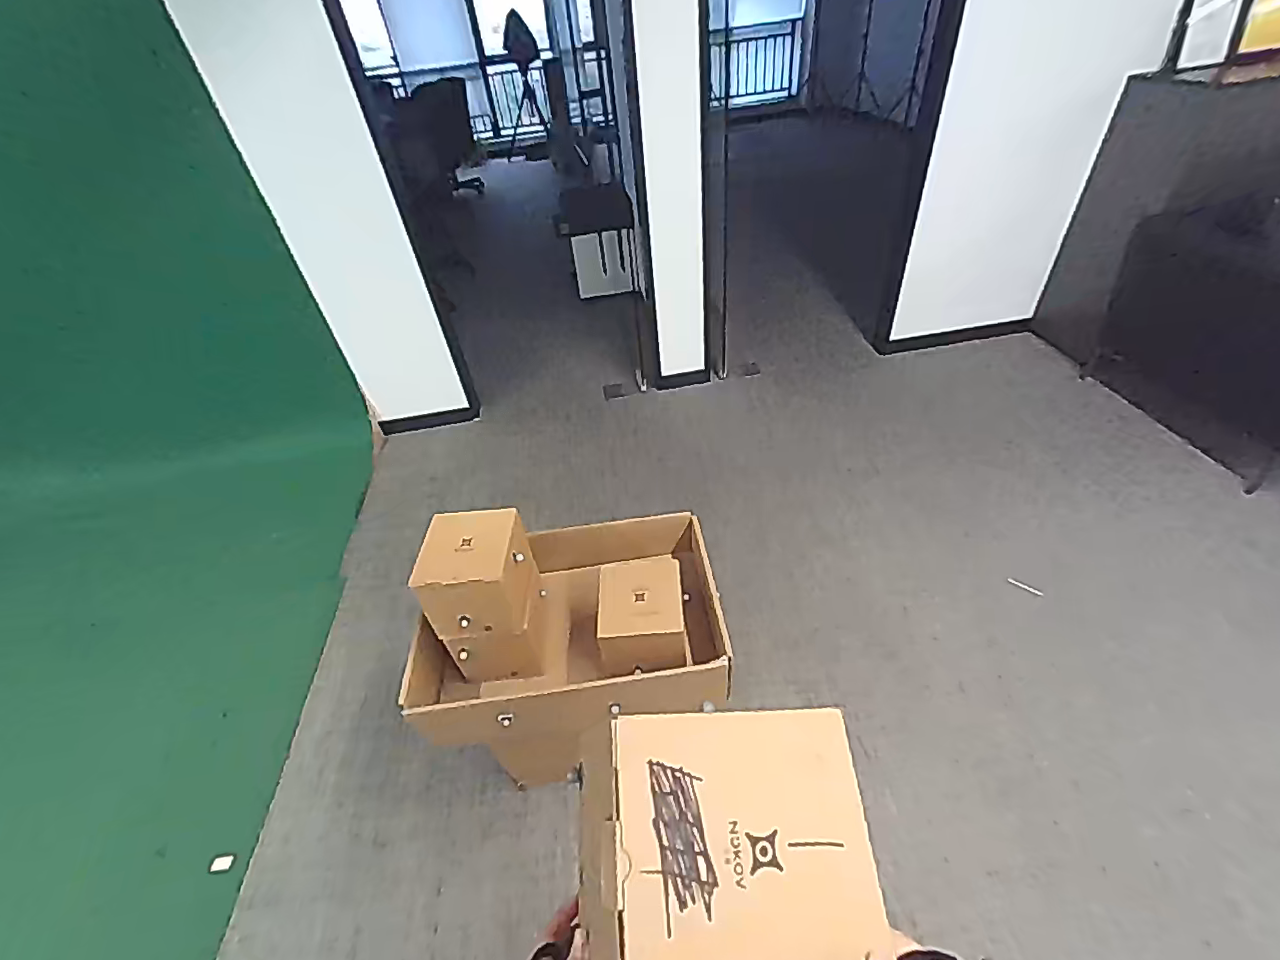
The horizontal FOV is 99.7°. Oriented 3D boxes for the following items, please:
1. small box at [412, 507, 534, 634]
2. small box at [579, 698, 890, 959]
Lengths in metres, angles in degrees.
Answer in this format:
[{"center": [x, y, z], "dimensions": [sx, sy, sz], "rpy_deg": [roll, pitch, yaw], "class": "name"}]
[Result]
[{"center": [-0.308, 0.175, 1.043], "dimensions": [0.168, 0.176, 0.179], "rpy_deg": [-4, 42, 3], "class": "small box"}, {"center": [0.048, 0.268, 0.417], "dimensions": [0.179, 0.176, 0.168], "rpy_deg": [4, 61, -14], "class": "small box"}]
